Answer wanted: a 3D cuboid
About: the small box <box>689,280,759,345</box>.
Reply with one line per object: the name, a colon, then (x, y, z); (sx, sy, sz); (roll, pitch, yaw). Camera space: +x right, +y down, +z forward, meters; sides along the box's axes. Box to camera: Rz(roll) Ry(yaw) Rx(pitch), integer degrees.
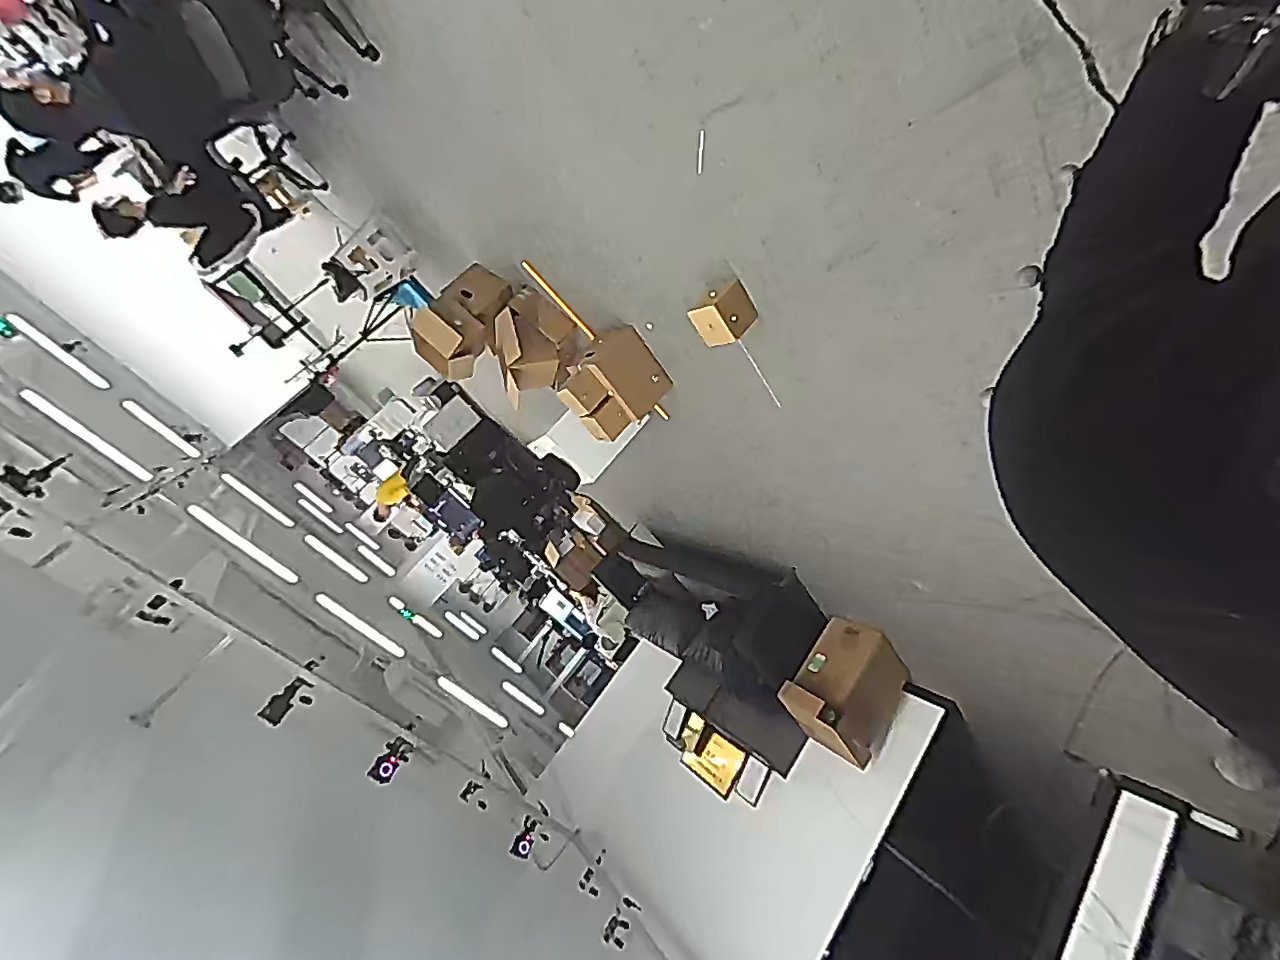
small box: (0.331, -0.659, 2.118); (0.179, 0.176, 0.168); (48, 160, -27)
